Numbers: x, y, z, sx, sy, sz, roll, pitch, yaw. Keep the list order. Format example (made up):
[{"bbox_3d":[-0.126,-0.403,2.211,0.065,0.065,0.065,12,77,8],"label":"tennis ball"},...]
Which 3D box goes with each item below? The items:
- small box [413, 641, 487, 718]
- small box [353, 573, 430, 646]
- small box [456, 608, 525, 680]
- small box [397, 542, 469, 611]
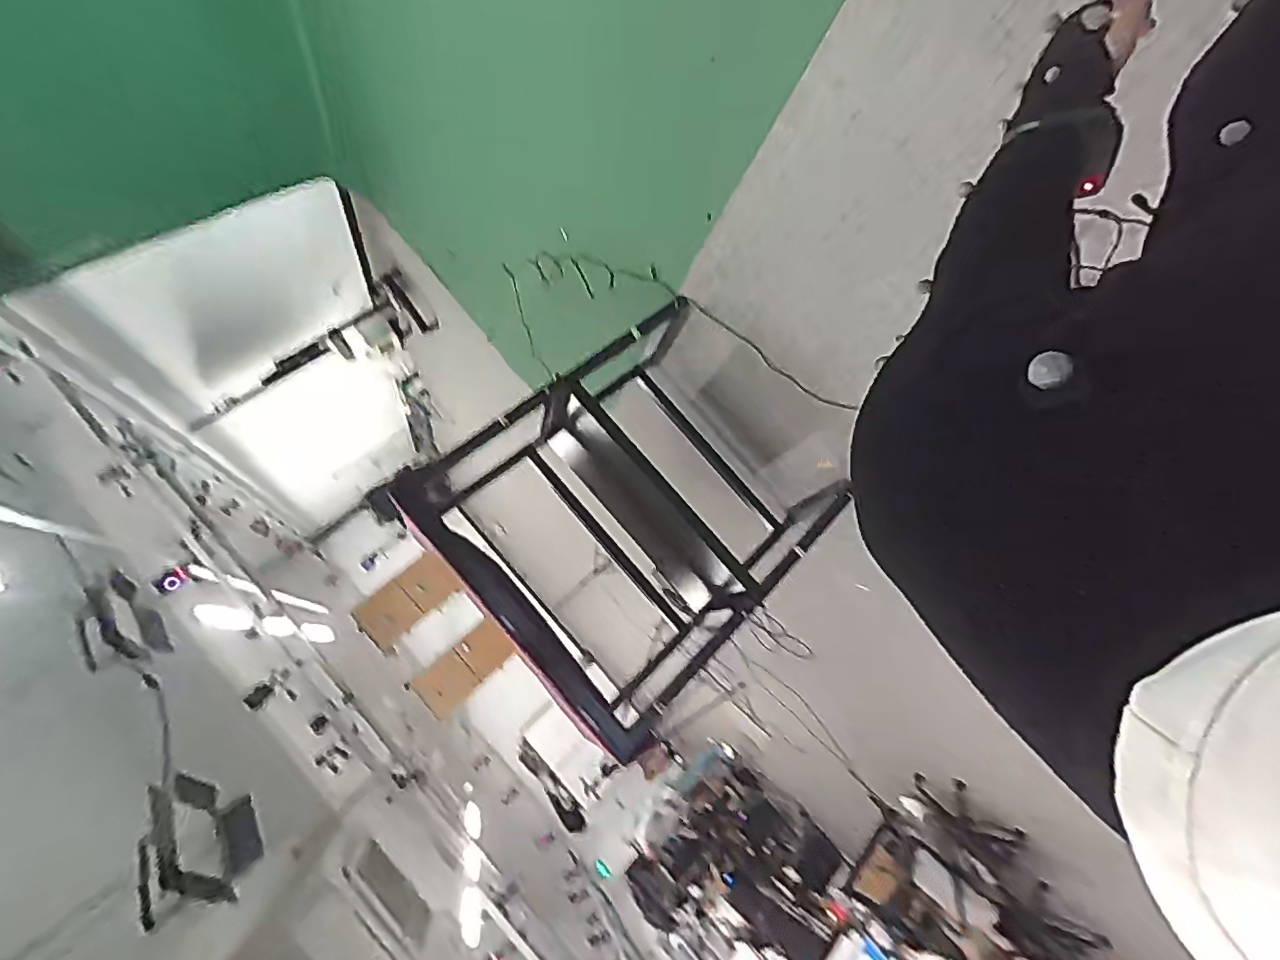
[{"bbox_3d":[-0.640,0.674,1.846,0.179,0.176,0.168,49,157,3],"label":"small box"},{"bbox_3d":[-0.840,0.442,1.852,0.179,0.176,0.168,48,156,0],"label":"small box"},{"bbox_3d":[-0.522,0.576,1.907,0.179,0.176,0.168,49,157,4],"label":"small box"},{"bbox_3d":[-0.725,0.344,1.915,0.179,0.176,0.168,50,157,-1],"label":"small box"}]
